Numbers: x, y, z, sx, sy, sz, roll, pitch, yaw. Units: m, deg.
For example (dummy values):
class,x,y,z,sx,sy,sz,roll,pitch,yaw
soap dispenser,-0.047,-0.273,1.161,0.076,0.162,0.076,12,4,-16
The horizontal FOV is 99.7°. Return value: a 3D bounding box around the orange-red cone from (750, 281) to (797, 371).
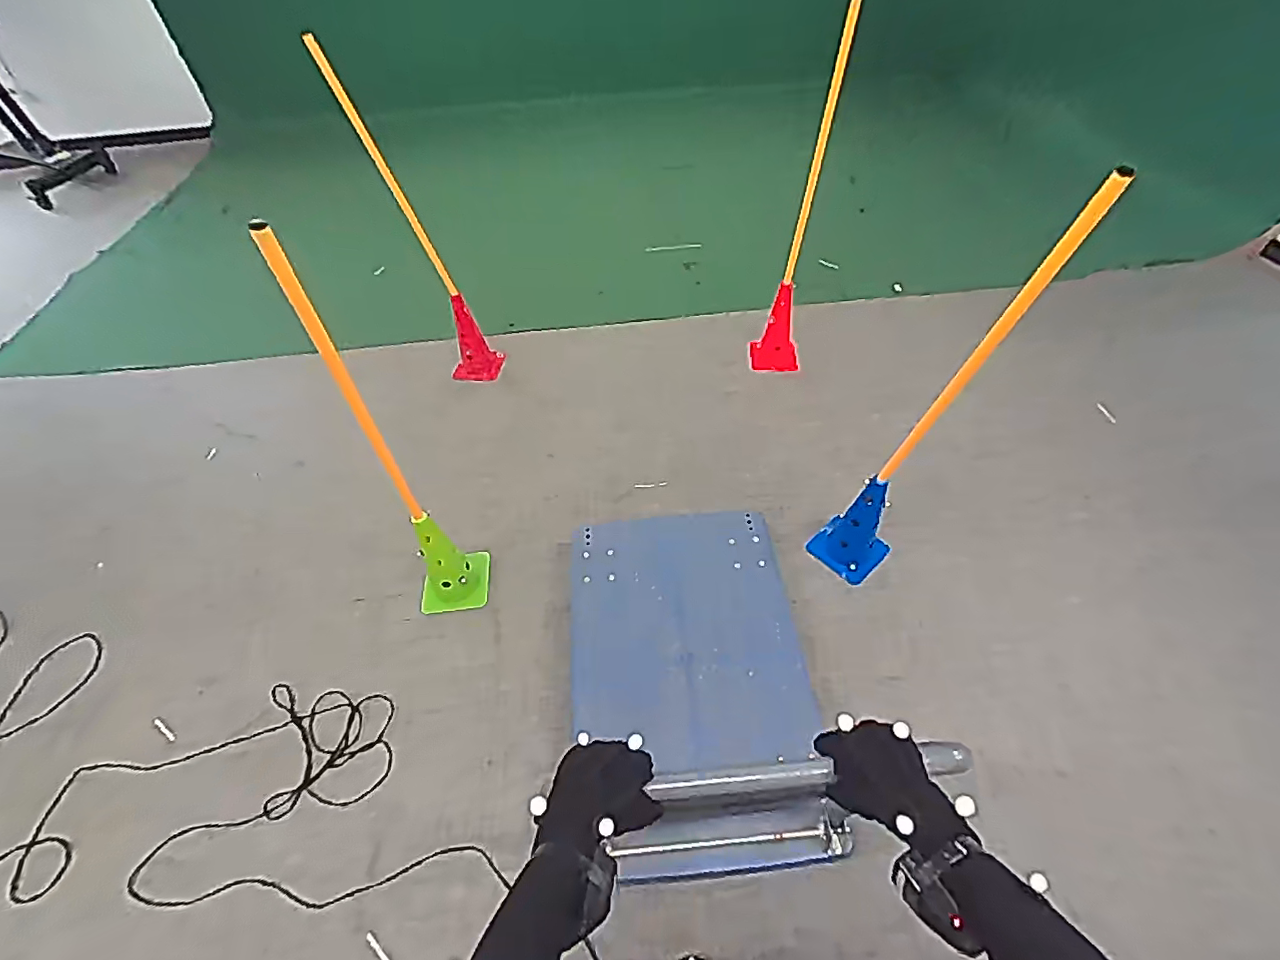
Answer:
class,x,y,z,sx,sy,sz,roll,pitch,yaw
orange-red cone,0.570,-0.646,2.222,0.198,0.360,0.199,2,52,6
